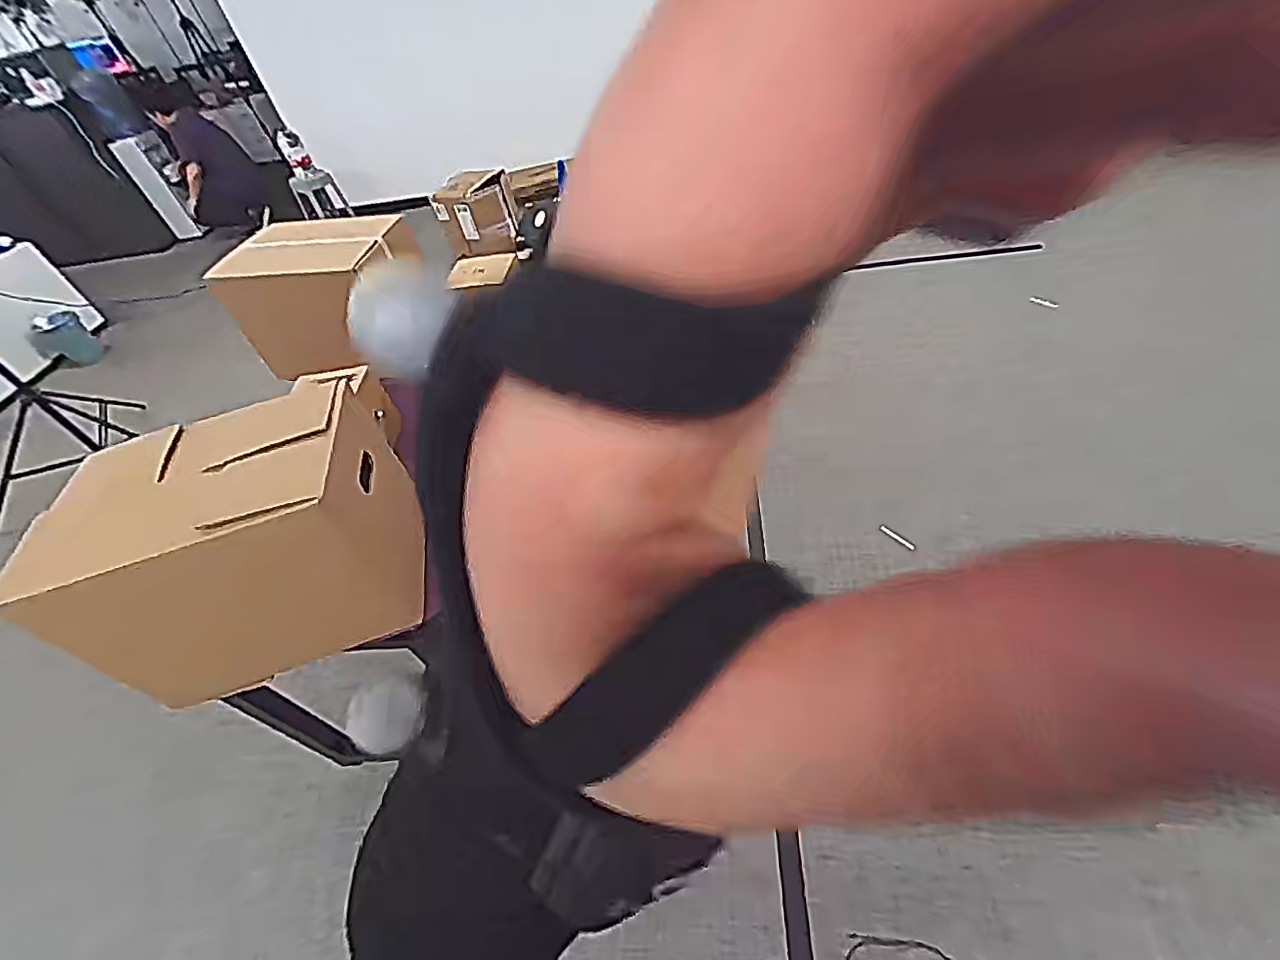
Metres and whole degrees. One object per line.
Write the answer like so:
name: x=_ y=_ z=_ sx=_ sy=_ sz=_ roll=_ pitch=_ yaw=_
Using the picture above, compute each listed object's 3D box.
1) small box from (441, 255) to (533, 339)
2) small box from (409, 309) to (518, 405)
small box: x=-0.415 y=-0.500 z=1.508 sx=0.179 sy=0.176 sz=0.168 roll=-3 pitch=47 yaw=11
small box: x=-0.421 y=-0.296 z=1.322 sx=0.179 sy=0.176 sz=0.168 roll=0 pitch=47 yaw=10
